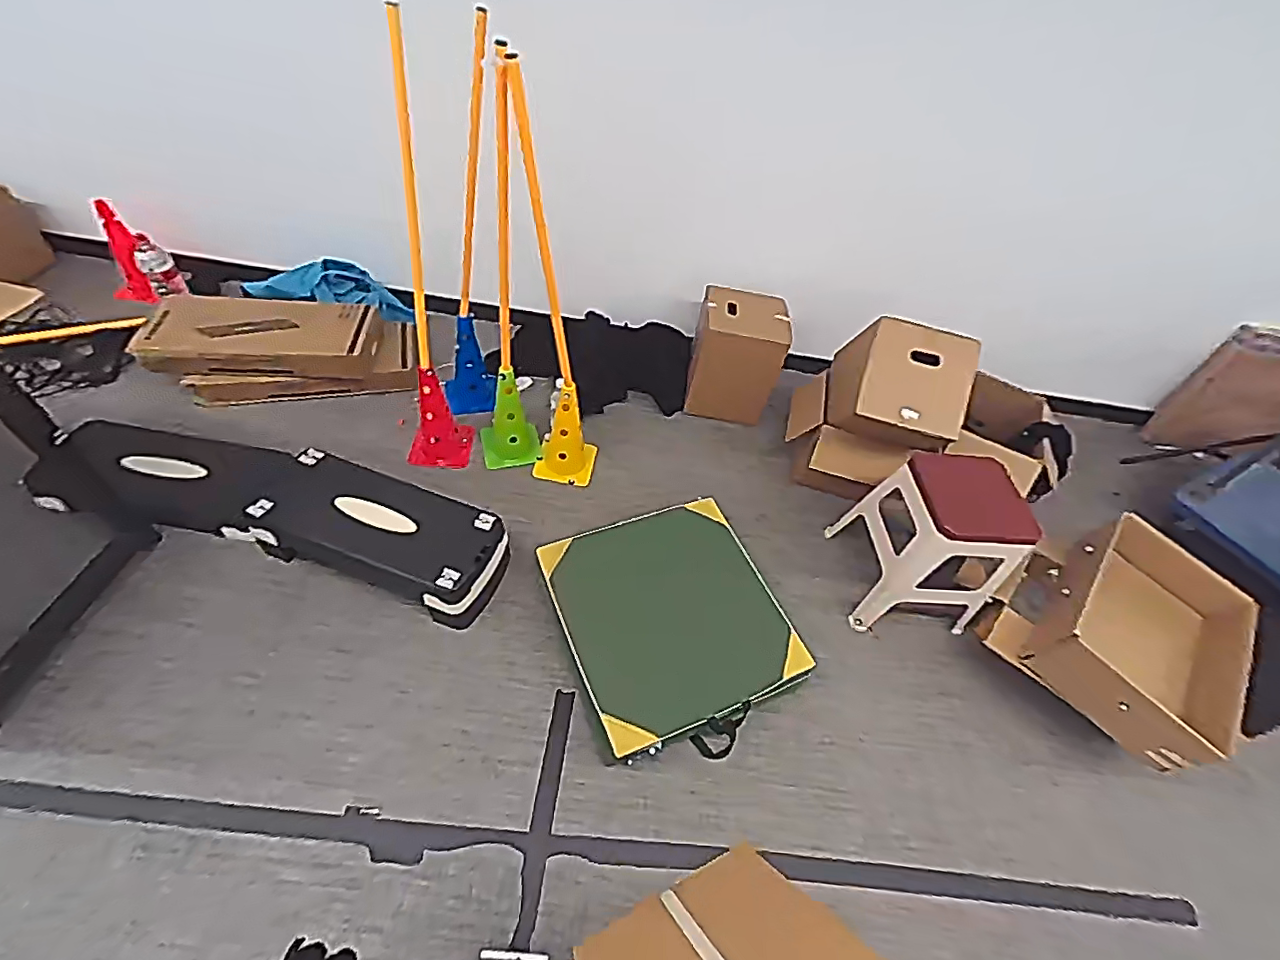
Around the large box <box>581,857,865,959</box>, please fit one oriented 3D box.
[{"bbox_3d":[0.157,0.775,0.655,0.320,0.408,0.320,-16,87,-22],"label":"large box"}]
